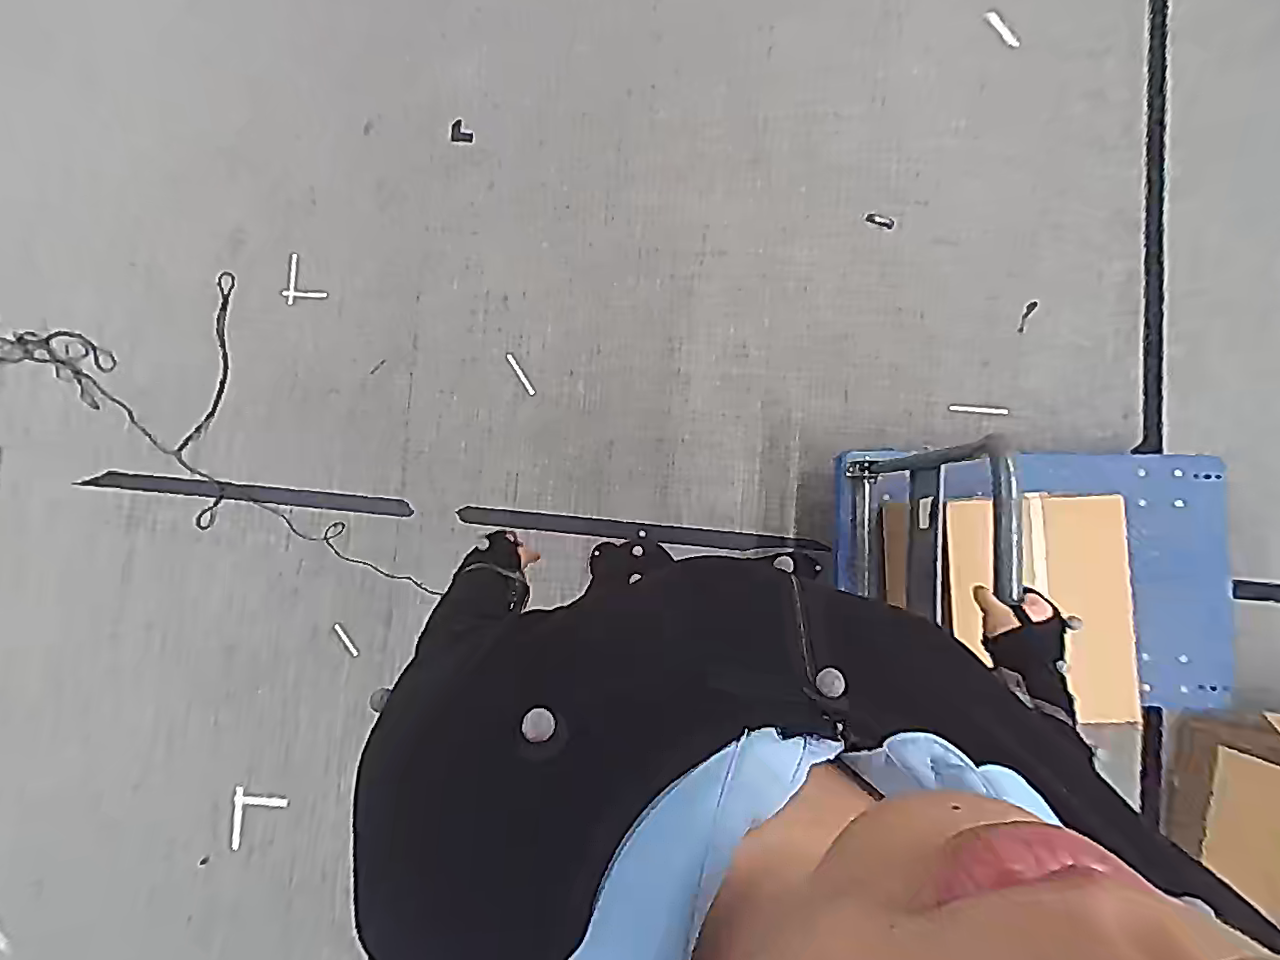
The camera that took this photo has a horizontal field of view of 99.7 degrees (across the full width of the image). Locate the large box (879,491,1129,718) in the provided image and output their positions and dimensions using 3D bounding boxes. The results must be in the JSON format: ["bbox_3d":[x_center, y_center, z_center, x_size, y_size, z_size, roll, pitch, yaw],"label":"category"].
[{"bbox_3d":[0.725,0.233,1.134,0.320,0.320,0.408,-3,88,4],"label":"large box"}]
